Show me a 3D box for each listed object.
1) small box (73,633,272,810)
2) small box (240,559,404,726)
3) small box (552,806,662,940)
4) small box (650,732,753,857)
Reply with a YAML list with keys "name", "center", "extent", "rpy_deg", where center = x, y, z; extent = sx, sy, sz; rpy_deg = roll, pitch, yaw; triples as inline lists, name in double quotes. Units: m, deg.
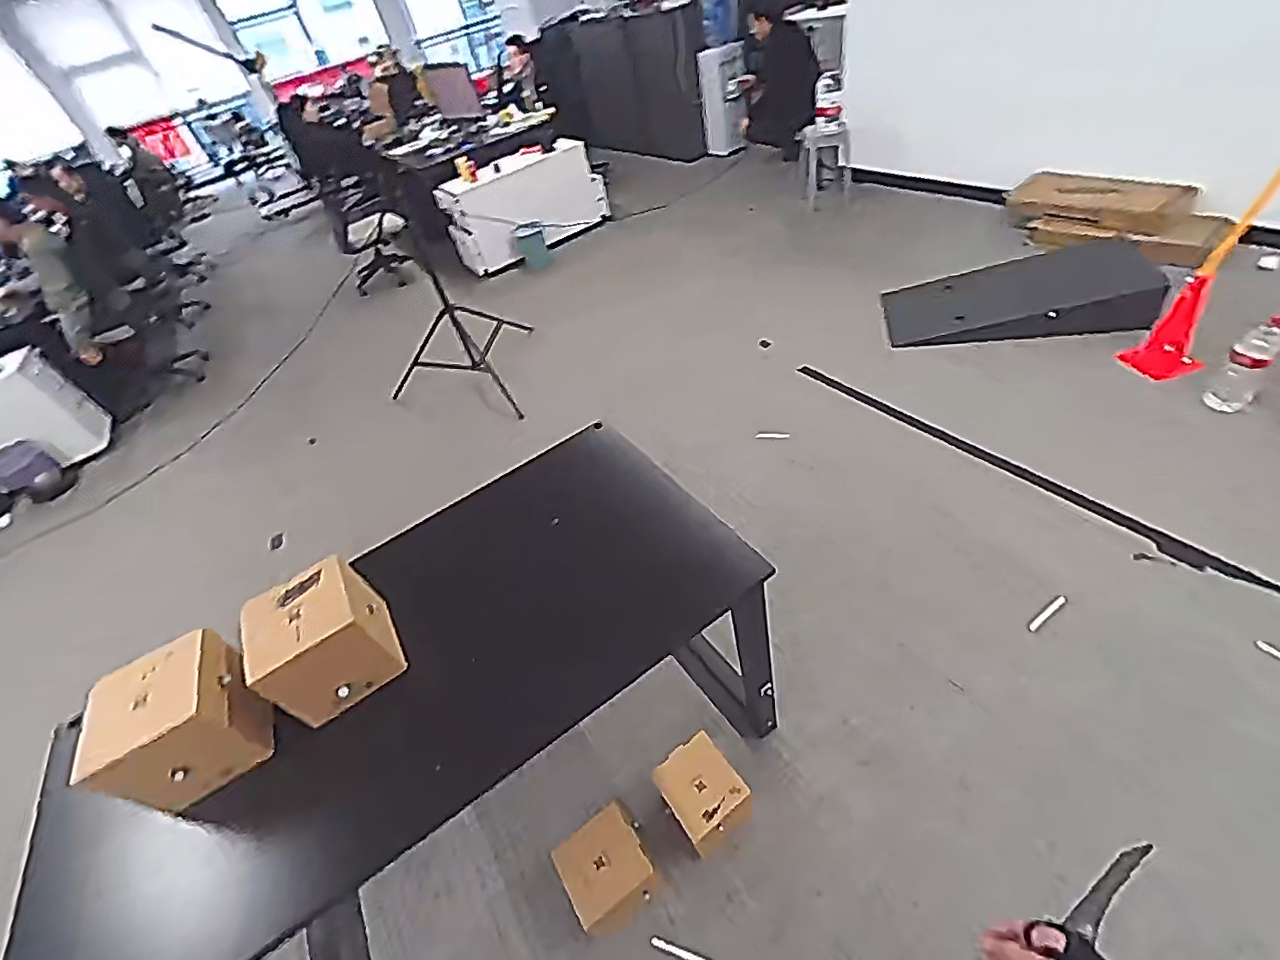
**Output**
- name: "small box"
  center: [-0.717, 0.386, 0.855]
  extent: [0.168, 0.176, 0.179]
  rpy_deg: [-30, 44, -15]
- name: "small box"
  center: [-0.531, 0.274, 0.913]
  extent: [0.168, 0.176, 0.179]
  rpy_deg: [-33, 47, -17]
- name: "small box"
  center: [-0.066, 0.884, 1.217]
  extent: [0.179, 0.176, 0.168]
  rpy_deg: [-33, 45, -16]
- name: "small box"
  center: [0.149, 0.750, 1.286]
  extent: [0.168, 0.176, 0.179]
  rpy_deg: [-33, 45, -16]
